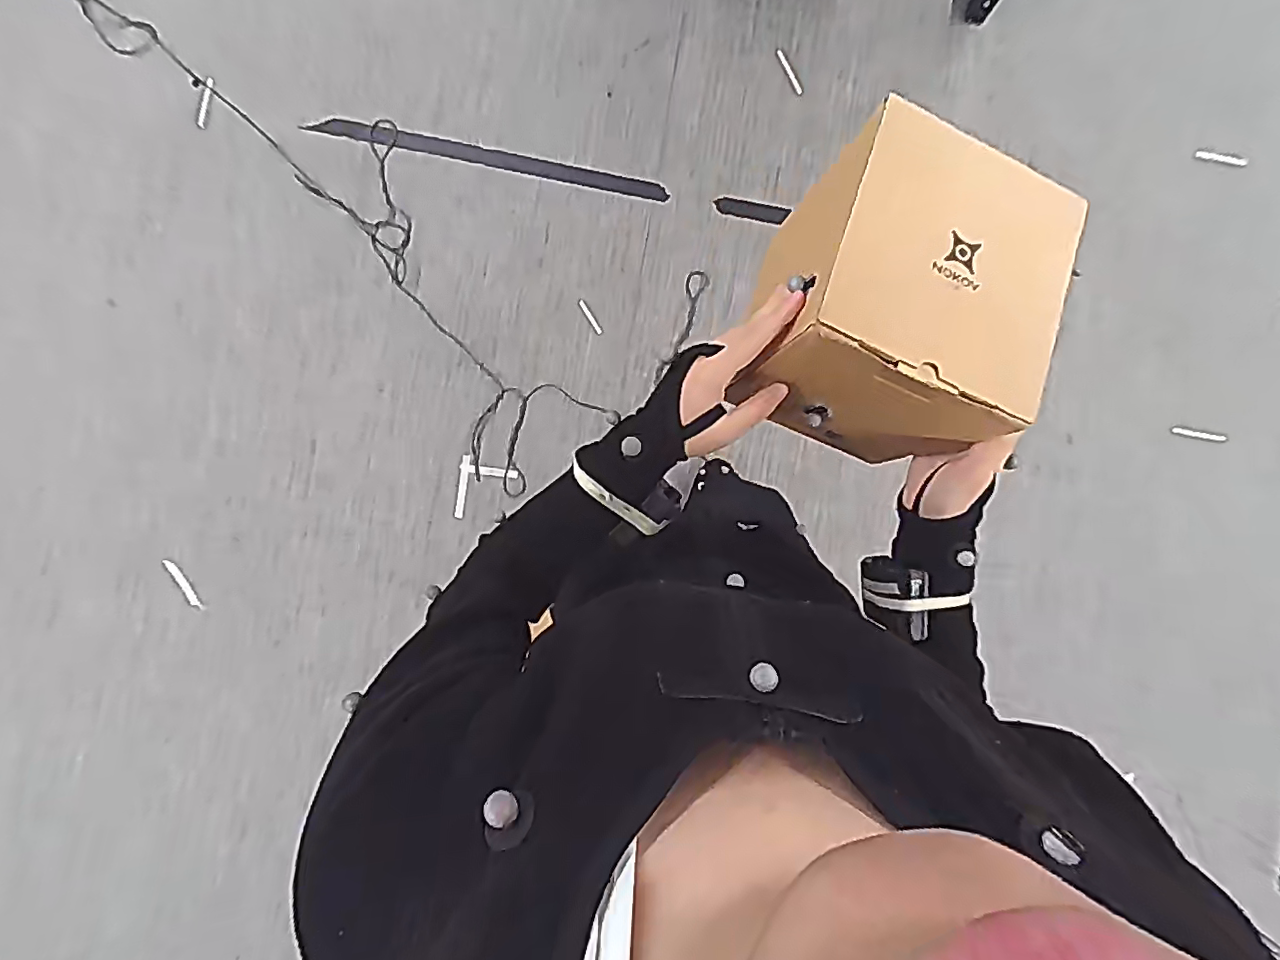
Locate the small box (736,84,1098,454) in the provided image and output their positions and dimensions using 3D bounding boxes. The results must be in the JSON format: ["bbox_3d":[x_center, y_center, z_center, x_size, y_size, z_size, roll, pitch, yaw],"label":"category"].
[{"bbox_3d":[0.194,-0.137,0.420,0.168,0.176,0.179,21,80,-8],"label":"small box"}]
